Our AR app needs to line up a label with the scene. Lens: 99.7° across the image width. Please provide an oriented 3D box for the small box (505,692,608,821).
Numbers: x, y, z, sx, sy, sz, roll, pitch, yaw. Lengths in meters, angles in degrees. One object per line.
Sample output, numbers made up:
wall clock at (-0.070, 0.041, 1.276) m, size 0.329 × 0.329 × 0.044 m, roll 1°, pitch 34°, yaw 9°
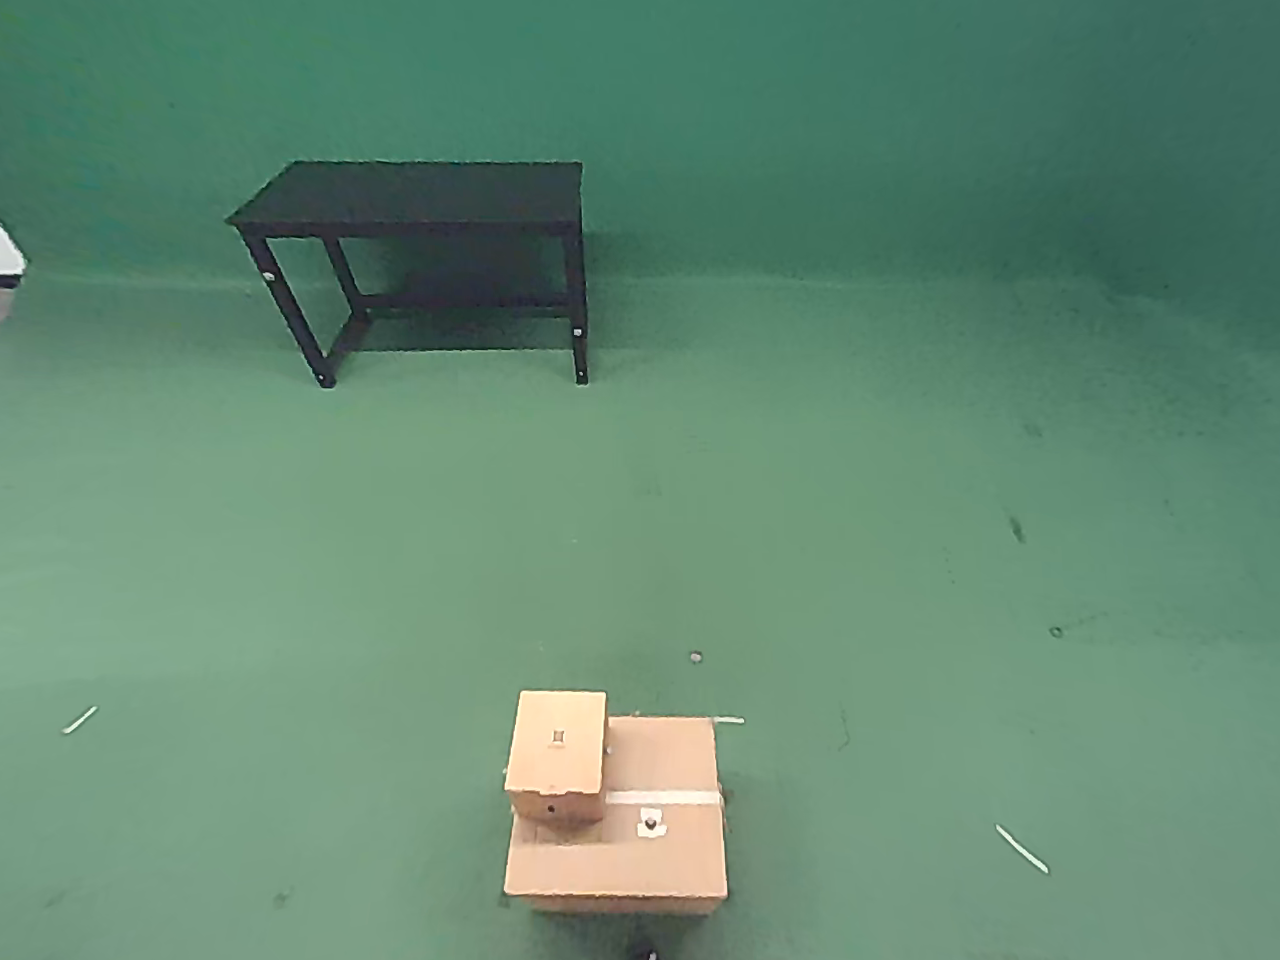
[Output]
small box at (-0.147, 0.523, 1.022) m, size 0.168 × 0.176 × 0.179 m, roll 1°, pitch 46°, yaw 0°

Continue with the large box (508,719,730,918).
large box at (-0.041, 0.728, 1.163) m, size 0.408 × 0.320 × 0.320 m, roll 1°, pitch 47°, yaw 0°
